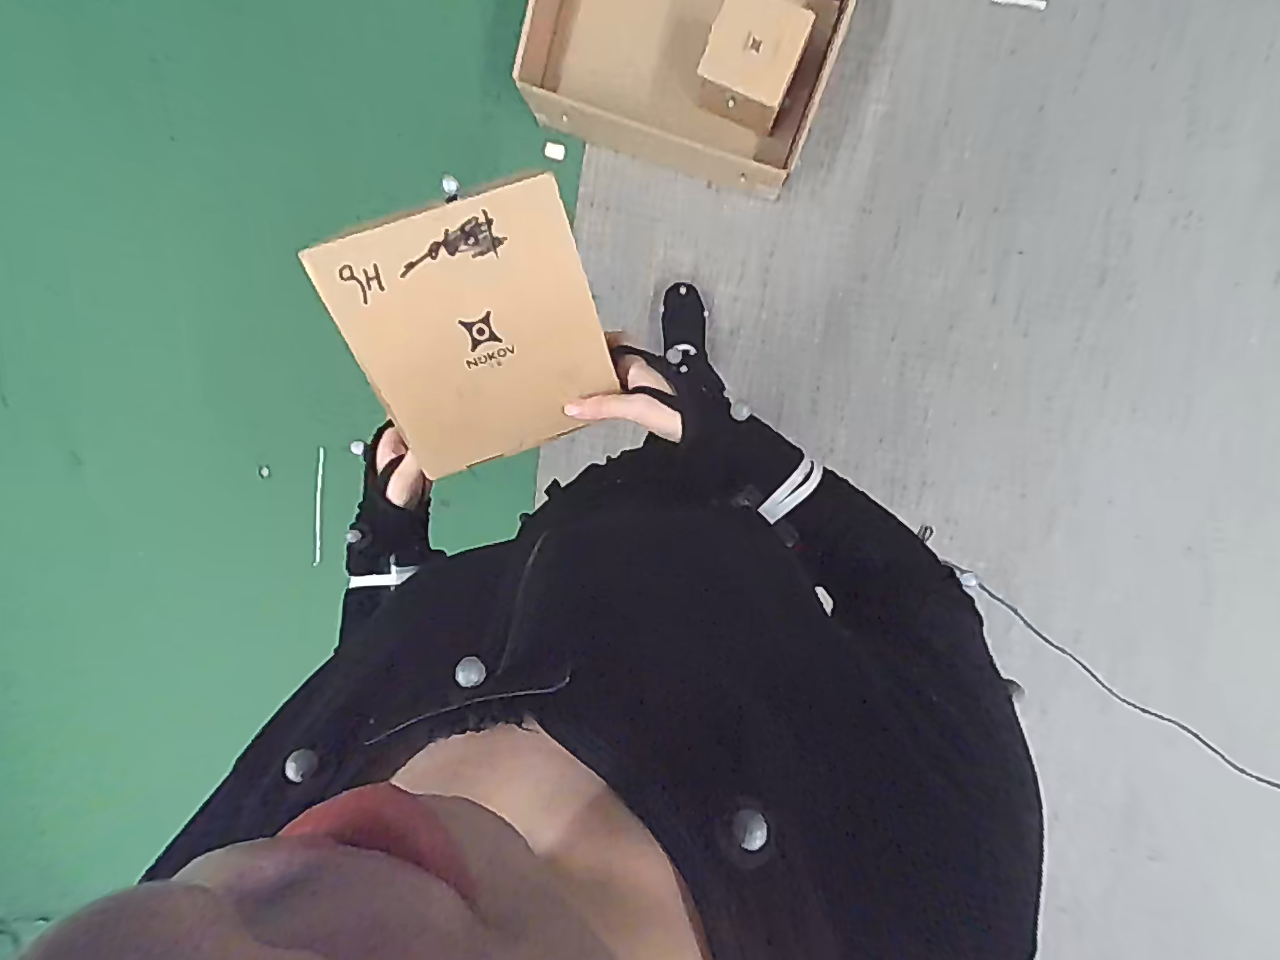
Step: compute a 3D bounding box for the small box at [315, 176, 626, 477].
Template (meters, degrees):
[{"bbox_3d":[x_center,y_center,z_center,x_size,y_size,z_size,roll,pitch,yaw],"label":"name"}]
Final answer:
[{"bbox_3d":[-0.124,-0.135,0.451,0.168,0.176,0.179,-20,123,-4],"label":"small box"}]
